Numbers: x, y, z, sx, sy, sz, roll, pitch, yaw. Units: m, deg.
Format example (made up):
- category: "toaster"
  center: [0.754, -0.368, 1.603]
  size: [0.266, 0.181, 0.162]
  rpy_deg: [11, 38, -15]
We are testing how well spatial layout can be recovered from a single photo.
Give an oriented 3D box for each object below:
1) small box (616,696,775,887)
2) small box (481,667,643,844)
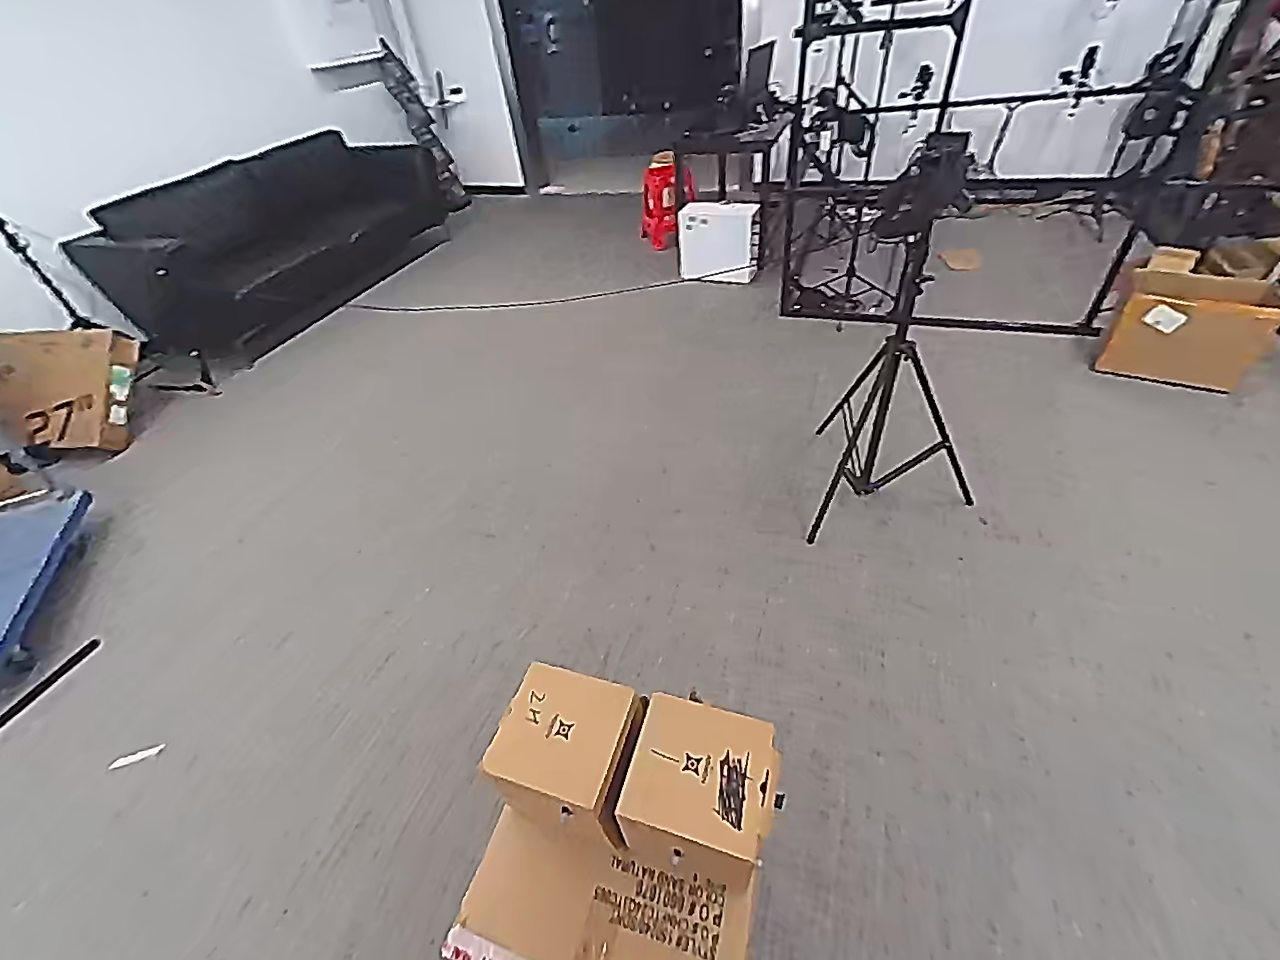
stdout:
- category: "small box"
  center: [0.083, 0.436, 0.754]
  size: [0.179, 0.176, 0.168]
  rpy_deg: [9, 45, 17]
- category: "small box"
  center: [-0.098, 0.412, 0.808]
  size: [0.179, 0.176, 0.168]
  rpy_deg: [7, 44, 20]
